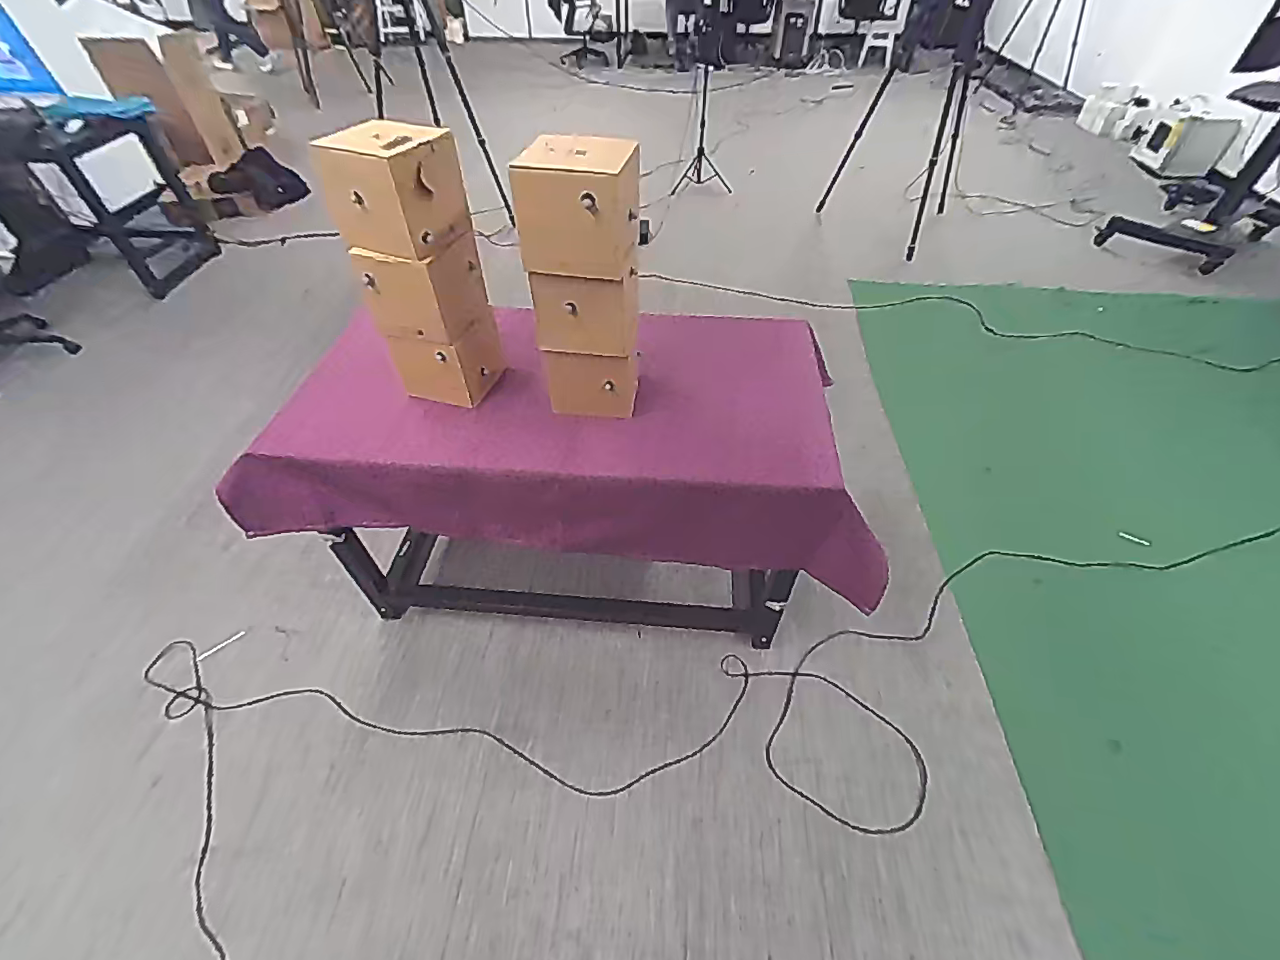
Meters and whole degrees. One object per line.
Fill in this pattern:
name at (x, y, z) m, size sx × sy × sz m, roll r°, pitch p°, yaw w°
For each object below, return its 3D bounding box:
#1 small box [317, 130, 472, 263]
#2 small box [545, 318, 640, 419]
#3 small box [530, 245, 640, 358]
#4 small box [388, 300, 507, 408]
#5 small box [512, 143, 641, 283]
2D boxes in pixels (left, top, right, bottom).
small box at (-0.437, -0.521, 0.998) m, size 0.179 × 0.176 × 0.168 m, roll 17°, pitch 48°, yaw 16°
small box at (-0.096, -0.251, 1.193) m, size 0.179 × 0.176 × 0.168 m, roll 5°, pitch 46°, yaw 5°
small box at (-0.099, -0.358, 1.069) m, size 0.179 × 0.176 × 0.168 m, roll 6°, pitch 47°, yaw 6°
small box at (-0.426, -0.283, 1.226) m, size 0.179 × 0.176 × 0.168 m, roll 12°, pitch 48°, yaw 11°
small box at (-0.100, -0.461, 0.939) m, size 0.179 × 0.176 × 0.168 m, roll 9°, pitch 46°, yaw 8°
